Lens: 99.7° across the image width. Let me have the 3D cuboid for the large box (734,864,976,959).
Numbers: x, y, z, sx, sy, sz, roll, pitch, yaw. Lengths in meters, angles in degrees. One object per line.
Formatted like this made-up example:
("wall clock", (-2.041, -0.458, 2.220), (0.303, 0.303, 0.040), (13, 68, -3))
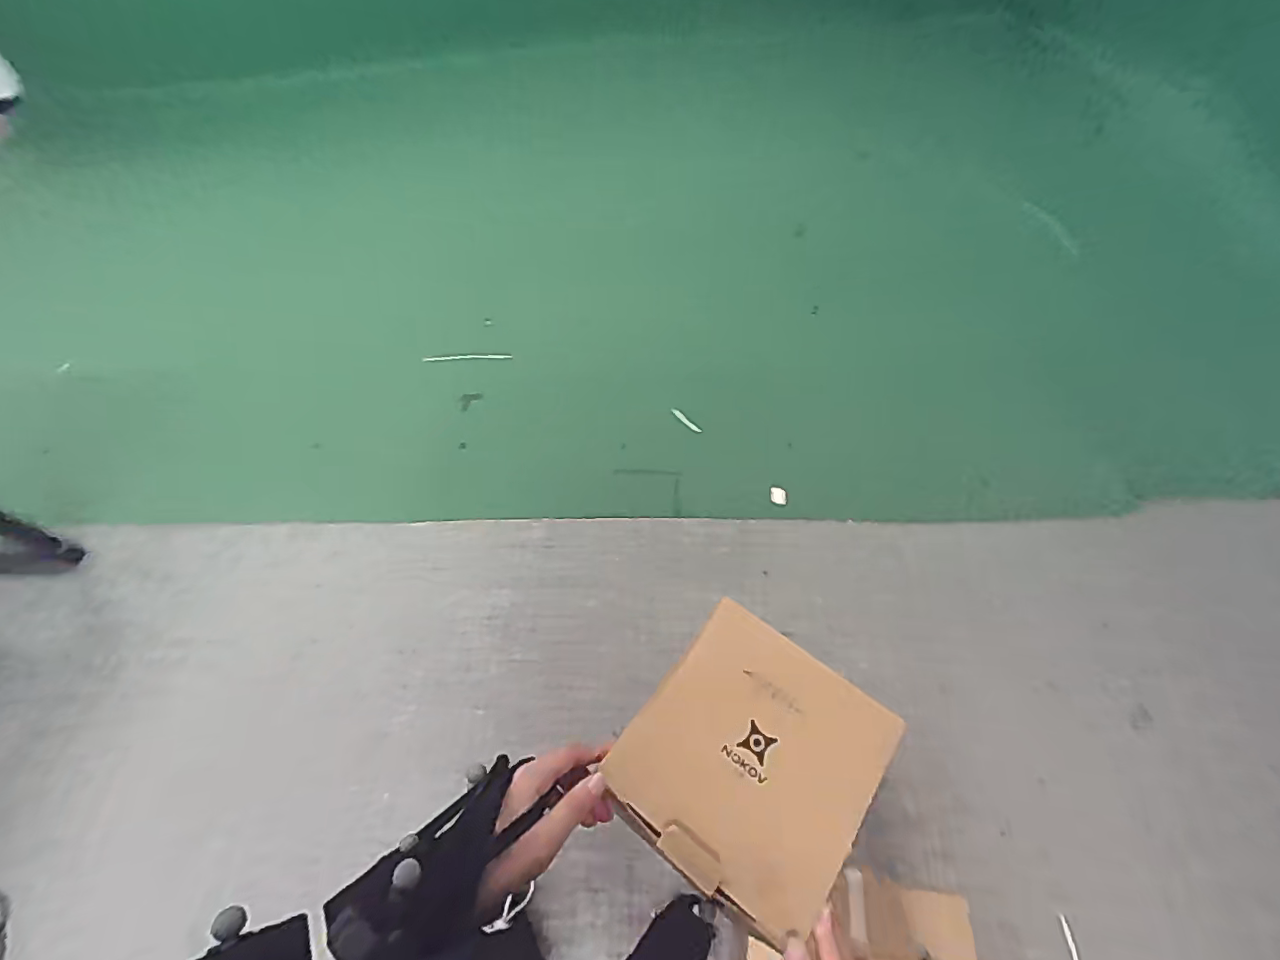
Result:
("large box", (0.307, 0.838, 0.821), (0.320, 0.320, 0.408), (3, 59, 9))

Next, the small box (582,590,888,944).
("small box", (0.071, 0.234, 0.460), (0.168, 0.176, 0.179), (32, 59, 18))
